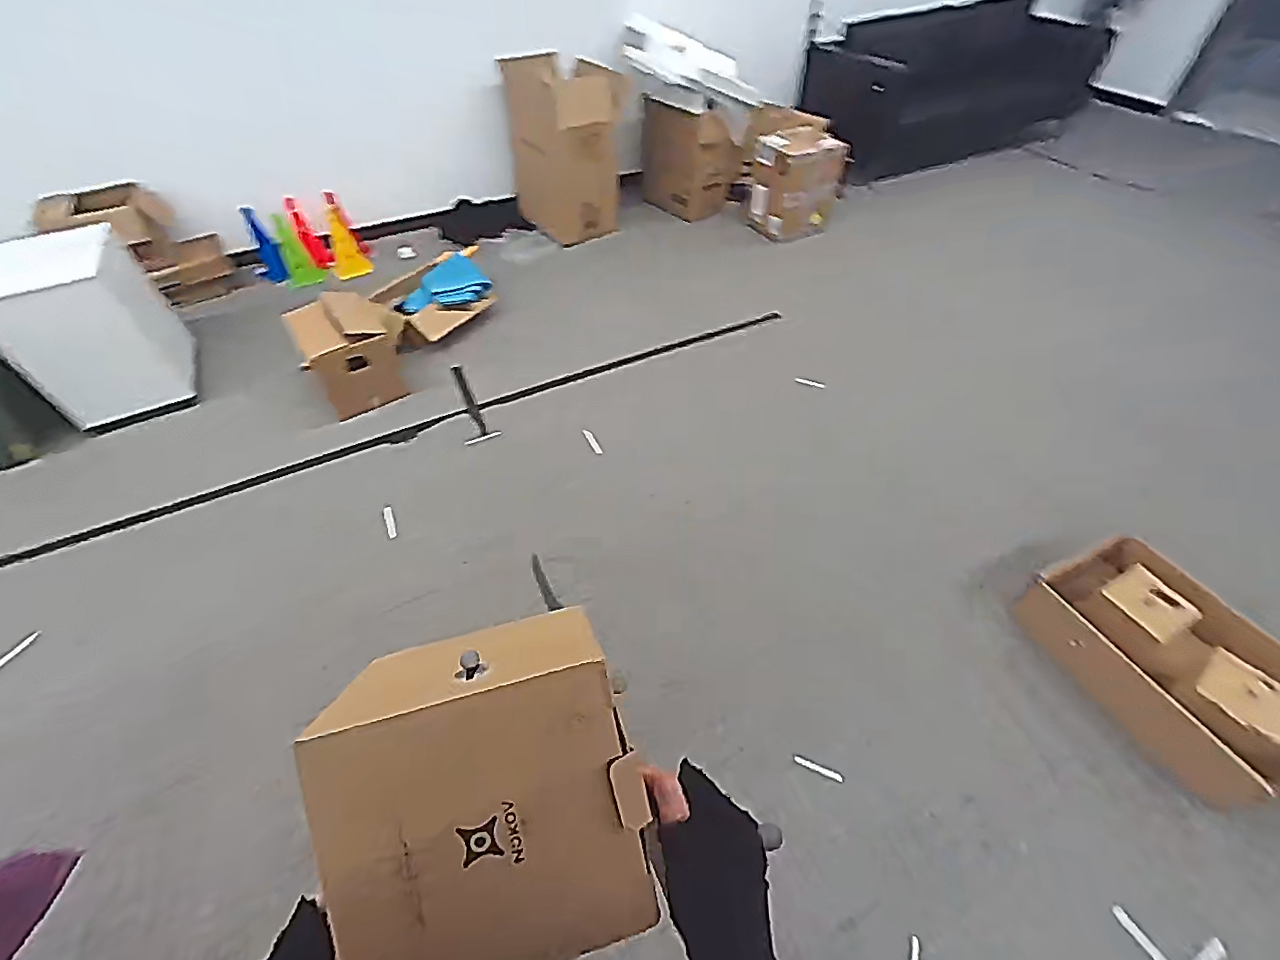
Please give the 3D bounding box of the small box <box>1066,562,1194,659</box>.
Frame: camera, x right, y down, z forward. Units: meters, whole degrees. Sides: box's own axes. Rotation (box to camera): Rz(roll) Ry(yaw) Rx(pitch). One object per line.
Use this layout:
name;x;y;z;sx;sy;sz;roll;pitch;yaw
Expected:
small box;1.353;0.366;1.508;0.179;0.176;0.168;-22;52;-18
